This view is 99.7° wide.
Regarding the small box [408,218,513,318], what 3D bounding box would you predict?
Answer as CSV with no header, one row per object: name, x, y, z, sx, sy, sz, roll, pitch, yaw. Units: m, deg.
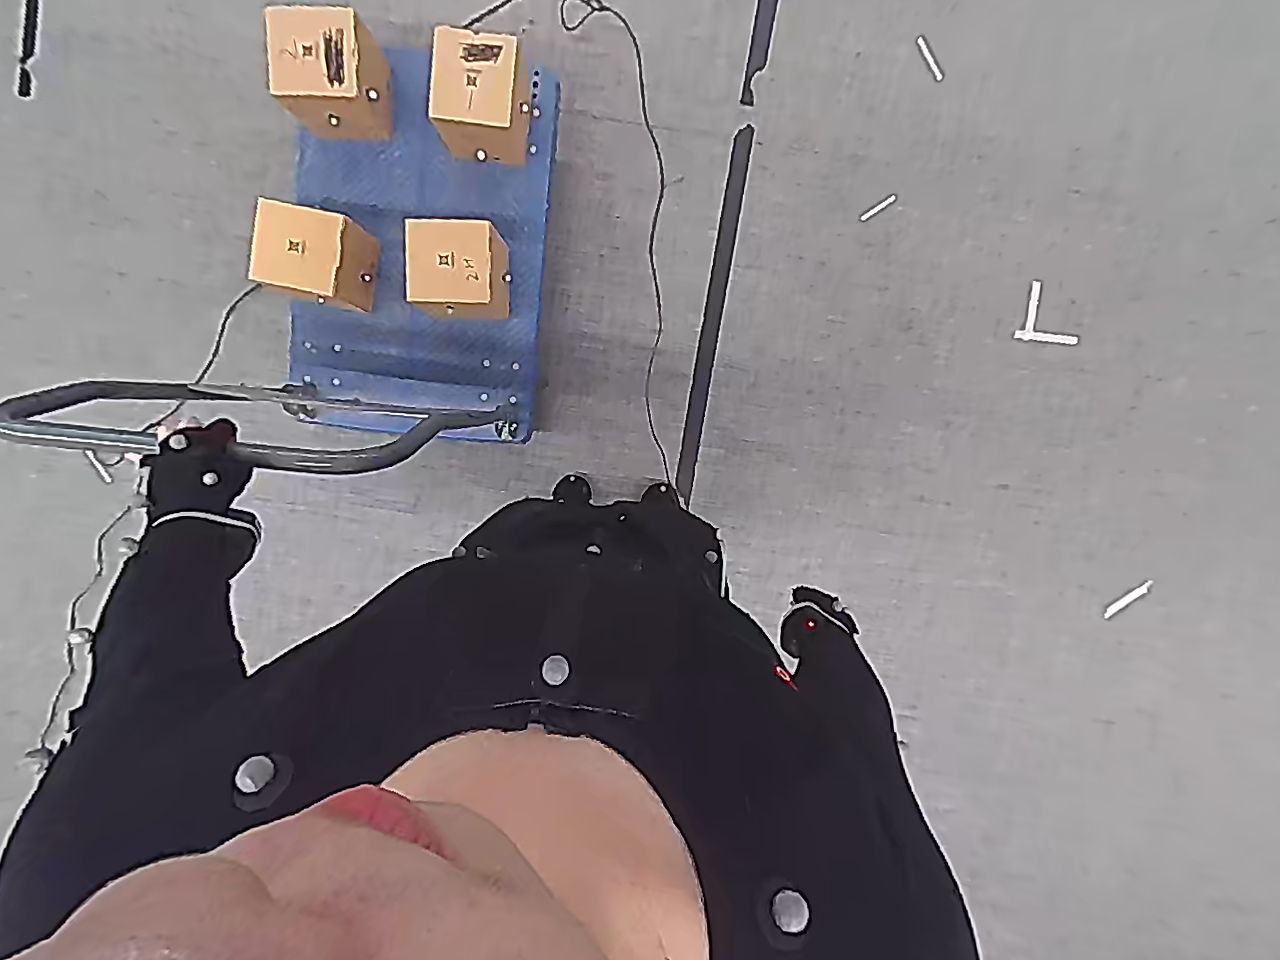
small box,-0.386,-0.455,1.184,0.179,0.176,0.168,1,96,-1

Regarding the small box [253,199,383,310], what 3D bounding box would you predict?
small box,-0.692,-0.481,1.178,0.179,0.176,0.168,10,96,-3

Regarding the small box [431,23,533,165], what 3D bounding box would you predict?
small box,-0.327,-0.810,1.151,0.168,0.176,0.179,7,97,-2
